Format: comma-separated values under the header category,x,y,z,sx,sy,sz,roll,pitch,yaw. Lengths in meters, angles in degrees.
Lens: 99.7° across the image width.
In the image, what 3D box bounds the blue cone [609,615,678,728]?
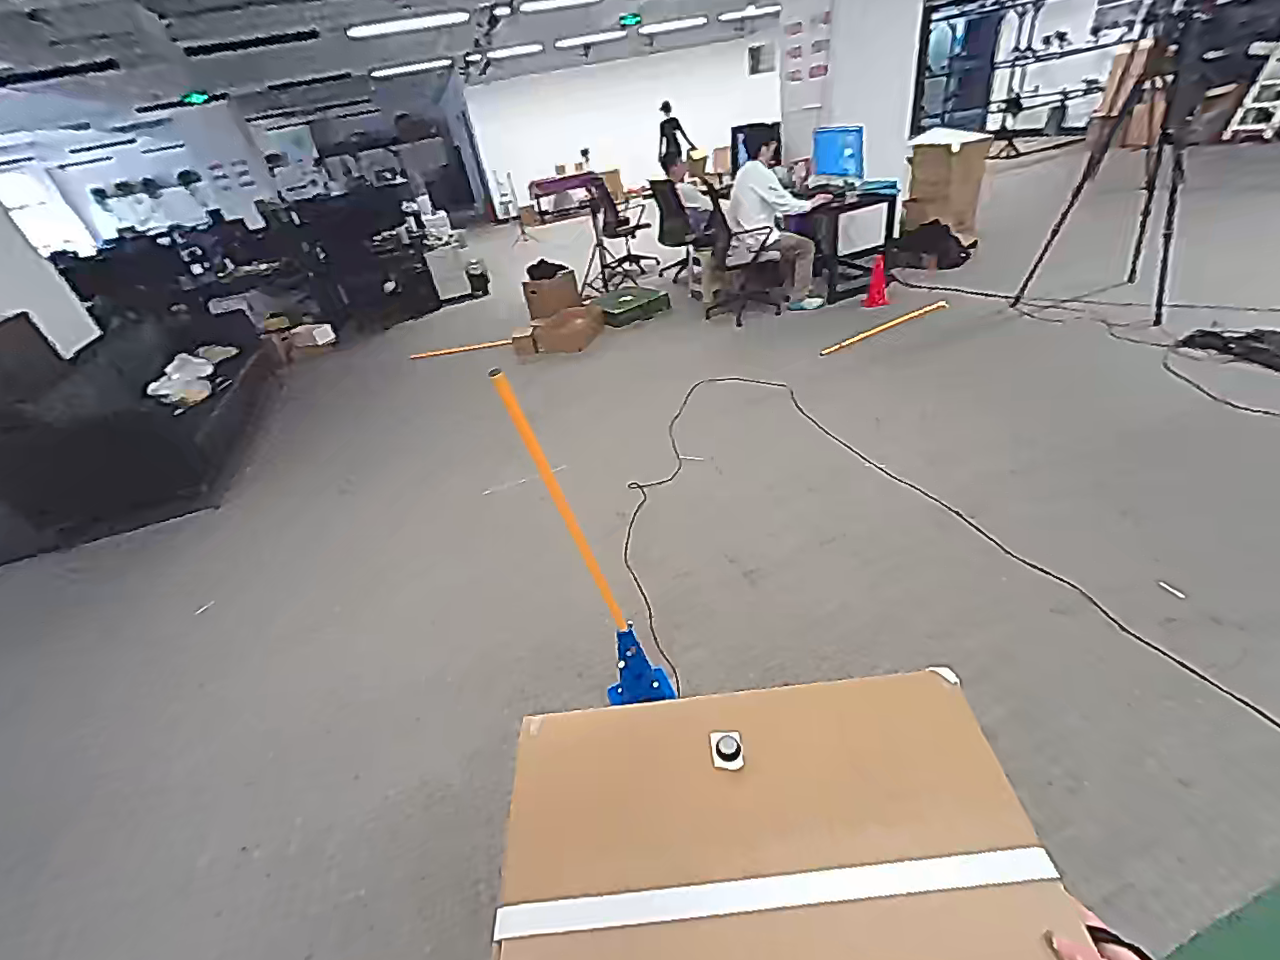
category,x,y,z,sx,sy,sz,roll,pitch,yaw
blue cone,-0.020,0.548,1.617,0.193,0.380,0.192,-22,35,-12
